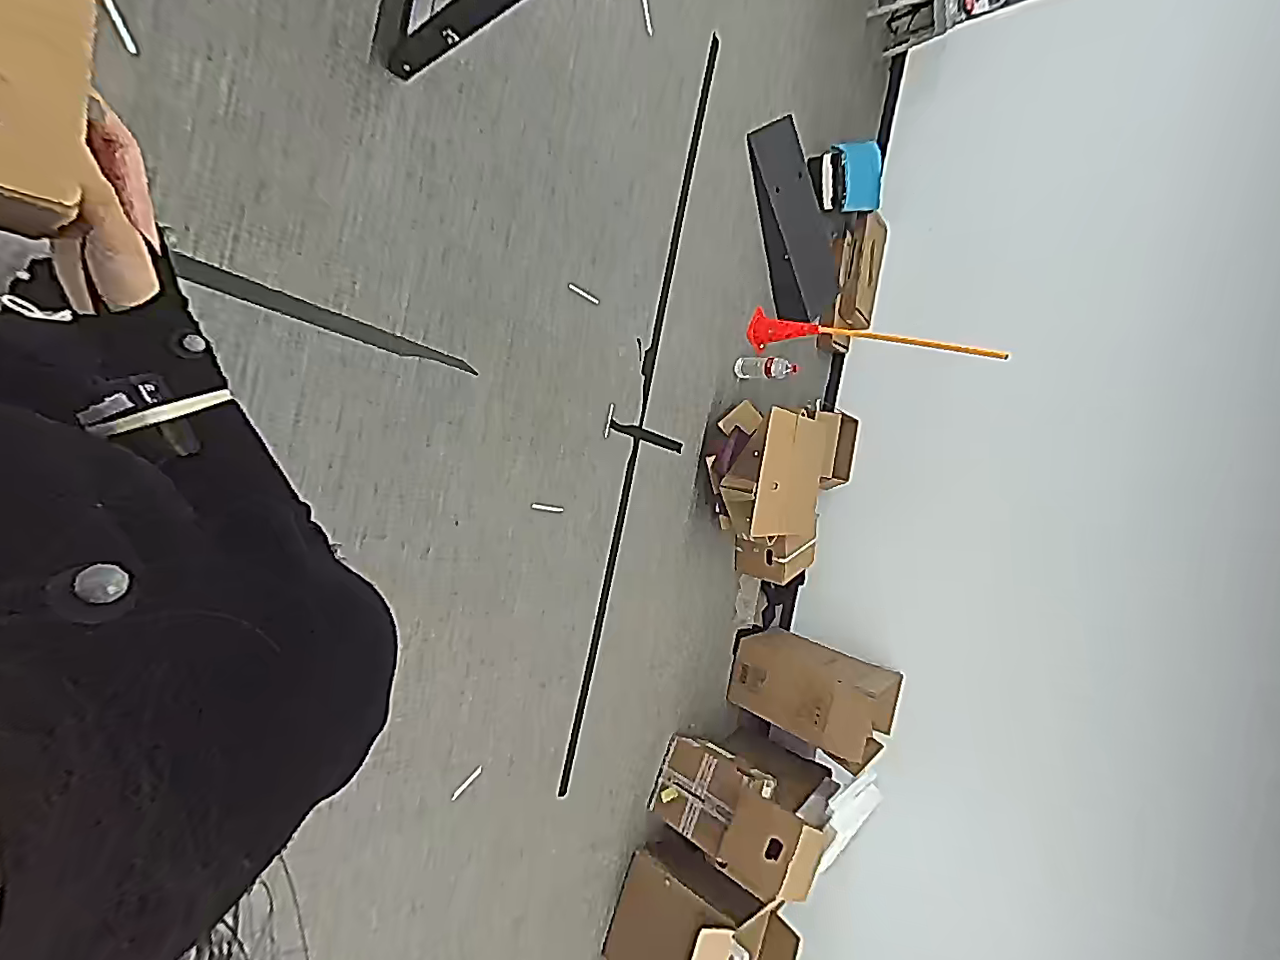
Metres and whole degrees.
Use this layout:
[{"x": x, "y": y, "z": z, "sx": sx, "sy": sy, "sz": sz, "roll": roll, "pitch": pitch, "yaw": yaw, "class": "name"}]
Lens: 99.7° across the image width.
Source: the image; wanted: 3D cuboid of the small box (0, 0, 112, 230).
[{"x": -0.380, "y": -0.238, "z": 0.257, "sx": 0.168, "sy": 0.176, "sz": 0.179, "roll": 4, "pitch": 99, "yaw": -53, "class": "small box"}]
